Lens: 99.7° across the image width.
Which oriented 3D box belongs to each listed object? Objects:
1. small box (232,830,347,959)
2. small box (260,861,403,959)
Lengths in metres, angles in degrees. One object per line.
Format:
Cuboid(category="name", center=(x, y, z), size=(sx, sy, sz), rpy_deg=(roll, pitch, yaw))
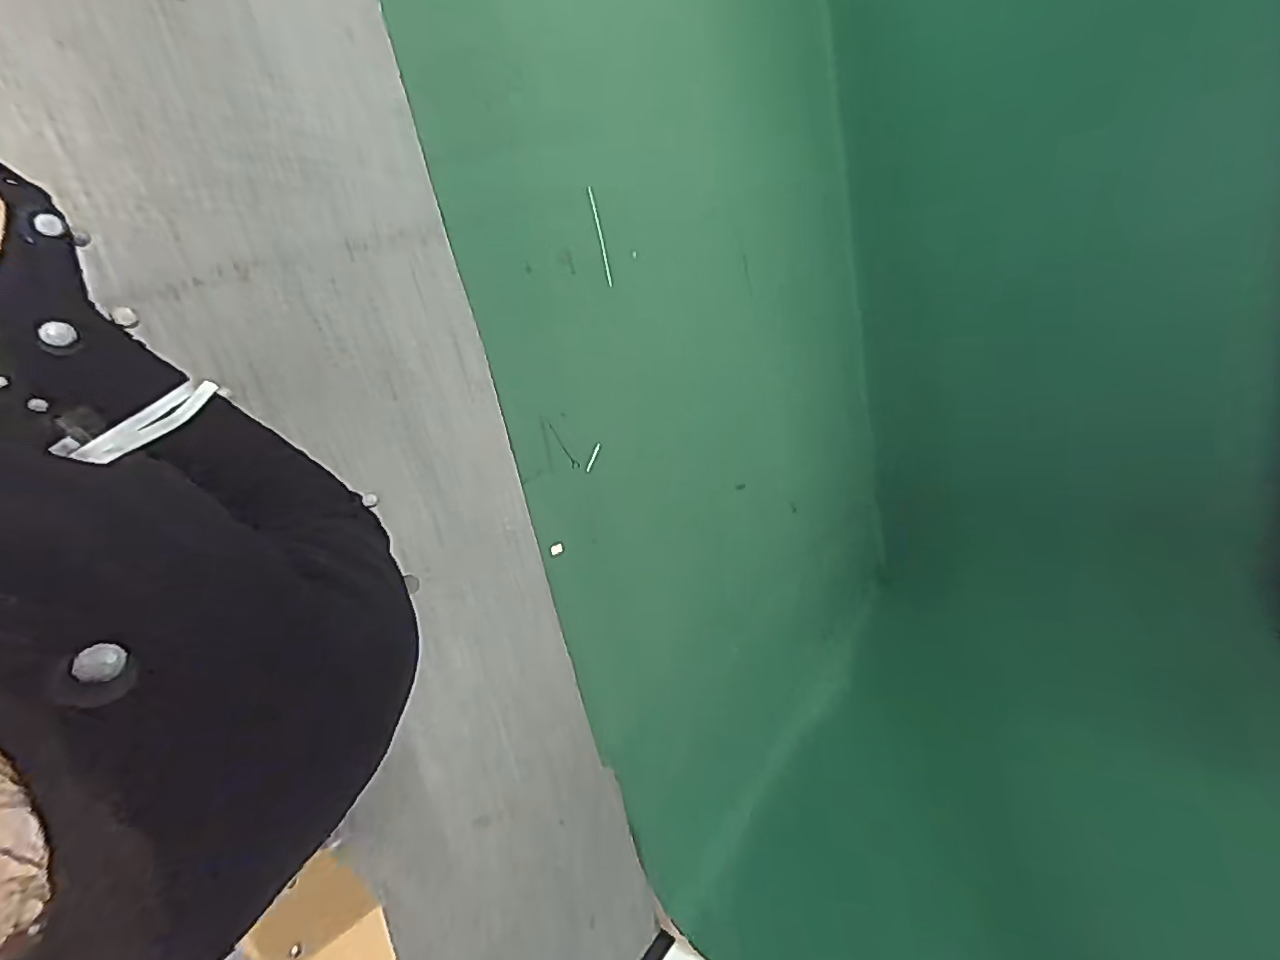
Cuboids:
Cuboid(category="small box", center=(-0.713, 0.887, 1.132), size=(0.179, 0.176, 0.168), rpy_deg=(-23, 107, -44))
Cuboid(category="small box", center=(-0.586, 0.885, 1.029), size=(0.179, 0.176, 0.168), rpy_deg=(-19, 104, -45))
